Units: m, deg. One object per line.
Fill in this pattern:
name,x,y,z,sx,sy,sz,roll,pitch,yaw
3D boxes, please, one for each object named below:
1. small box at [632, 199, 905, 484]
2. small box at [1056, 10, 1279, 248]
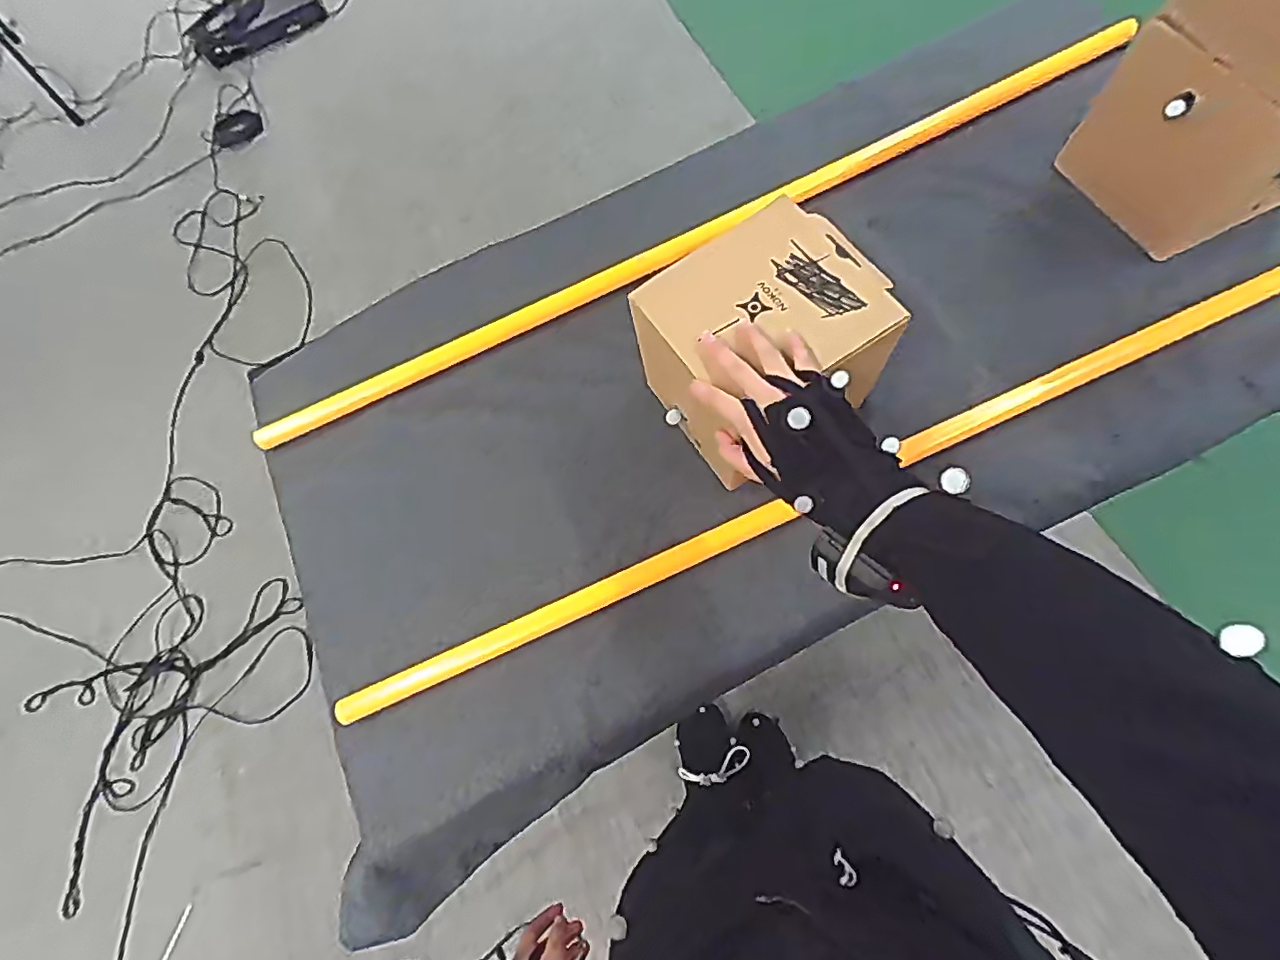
small box,0.114,-0.124,0.536,0.179,0.176,0.168,-33,70,-4
small box,0.597,-0.372,0.557,0.168,0.176,0.179,-26,69,-1
